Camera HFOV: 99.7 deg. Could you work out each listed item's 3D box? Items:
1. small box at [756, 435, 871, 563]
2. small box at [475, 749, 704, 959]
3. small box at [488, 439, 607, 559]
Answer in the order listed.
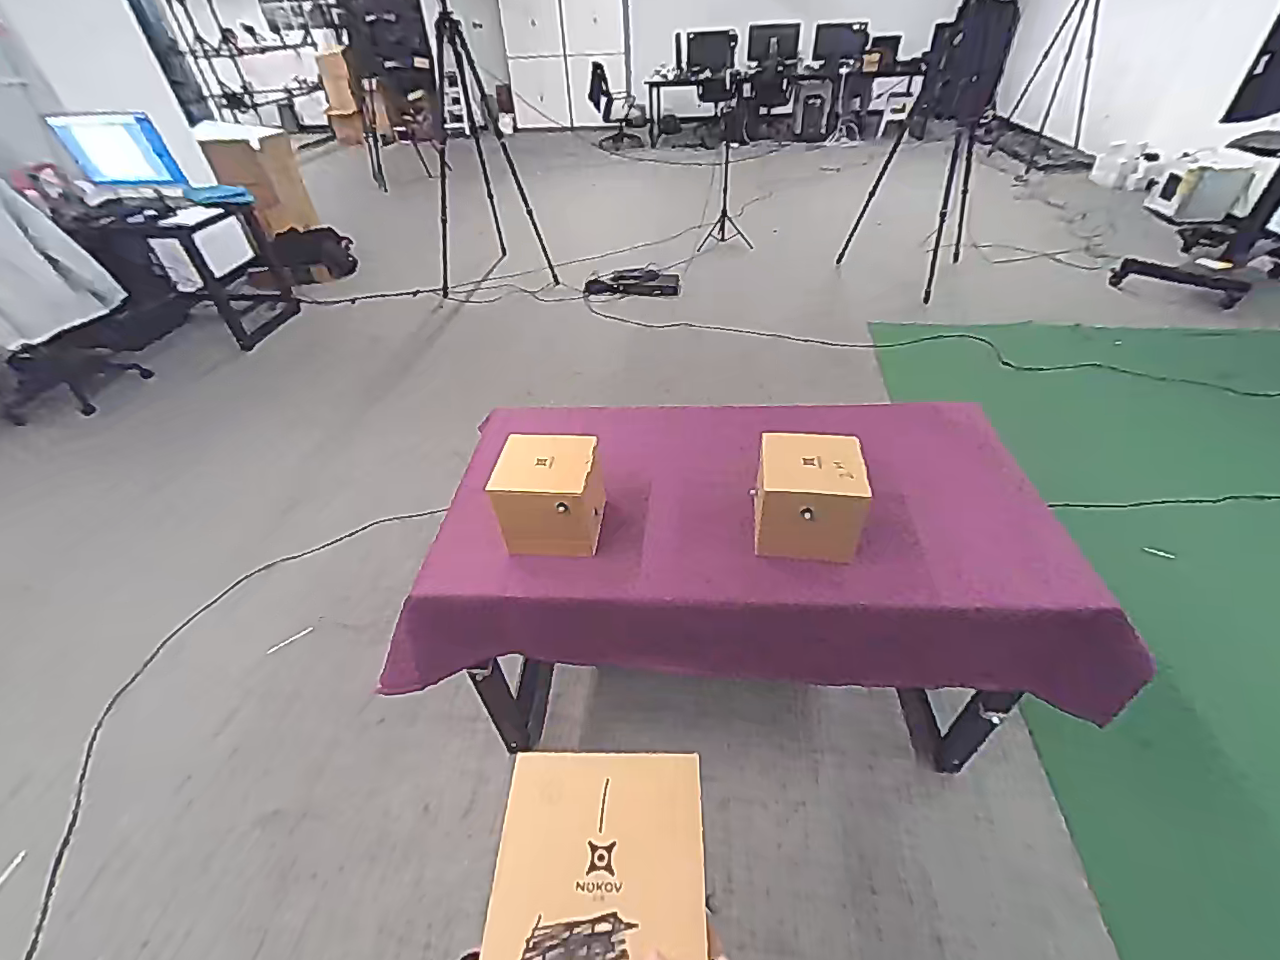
[{"bbox_3d":[0.308,0.035,0.997,0.179,0.176,0.168,4,42,10],"label":"small box"},{"bbox_3d":[-0.029,0.361,0.481,0.168,0.176,0.179,-2,44,5],"label":"small box"},{"bbox_3d":[-0.167,0.037,1.043,0.179,0.176,0.168,1,41,6],"label":"small box"}]
